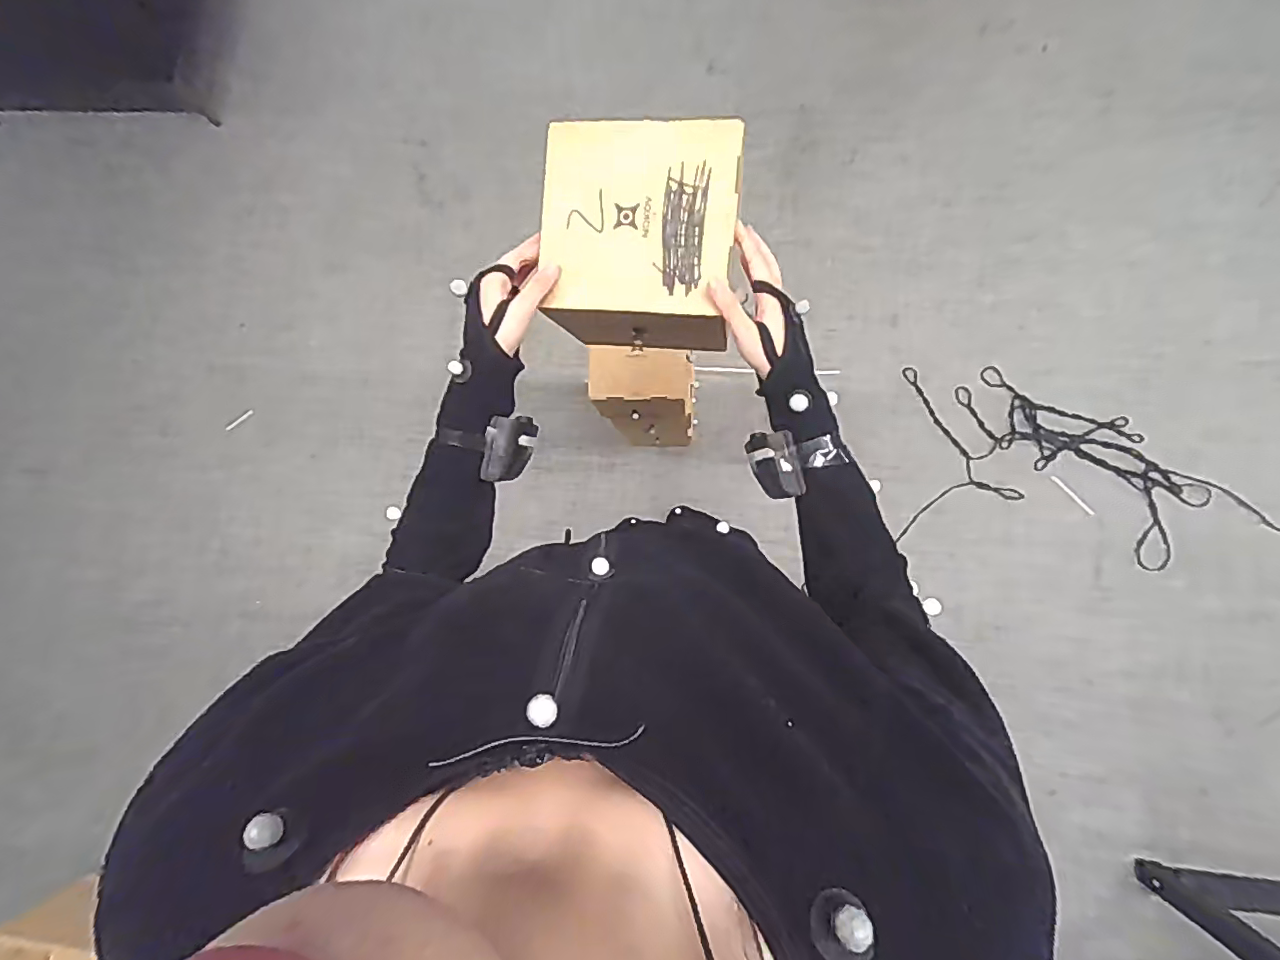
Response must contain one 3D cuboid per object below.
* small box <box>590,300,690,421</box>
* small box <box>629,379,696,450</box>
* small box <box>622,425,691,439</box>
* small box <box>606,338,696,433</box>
[{"bbox_3d":[0.006,-0.210,0.986,0.168,0.176,0.179,0,85,6],"label":"small box"},{"bbox_3d":[0.062,-0.176,1.472,0.179,0.176,0.168,2,84,5],"label":"small box"},{"bbox_3d":[0.038,-0.194,1.311,0.179,0.176,0.168,3,85,5],"label":"small box"},{"bbox_3d":[0.027,-0.196,1.147,0.179,0.176,0.168,1,84,5],"label":"small box"}]
